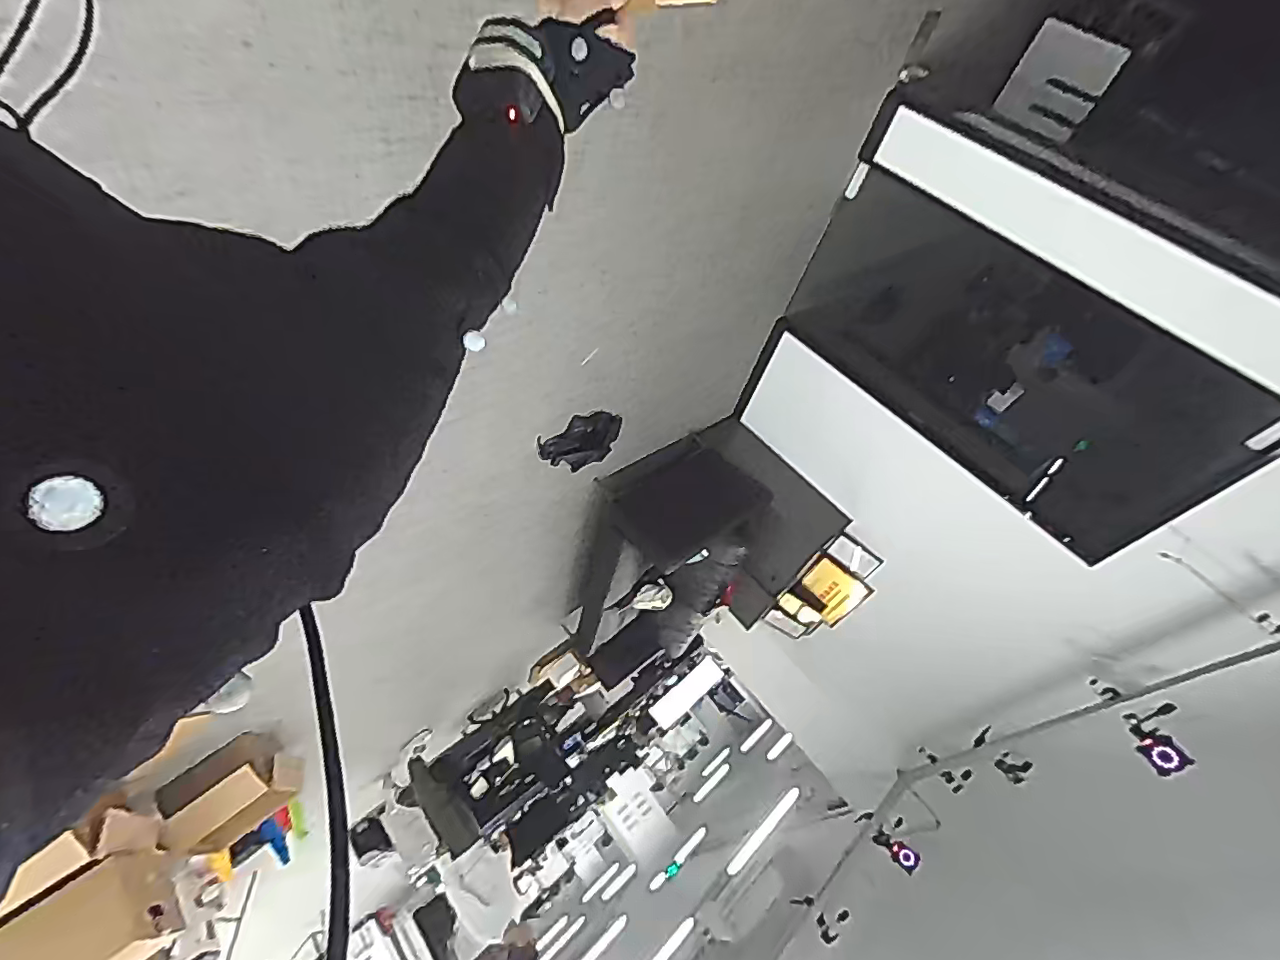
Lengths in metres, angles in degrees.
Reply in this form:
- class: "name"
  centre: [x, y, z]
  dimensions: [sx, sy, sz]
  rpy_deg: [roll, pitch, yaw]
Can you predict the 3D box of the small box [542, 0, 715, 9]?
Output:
- class: "small box"
  centre: [-0.014, -0.558, 0.488]
  dimensions: [0.168, 0.179, 0.176]
  rpy_deg: [-2, 142, 2]
